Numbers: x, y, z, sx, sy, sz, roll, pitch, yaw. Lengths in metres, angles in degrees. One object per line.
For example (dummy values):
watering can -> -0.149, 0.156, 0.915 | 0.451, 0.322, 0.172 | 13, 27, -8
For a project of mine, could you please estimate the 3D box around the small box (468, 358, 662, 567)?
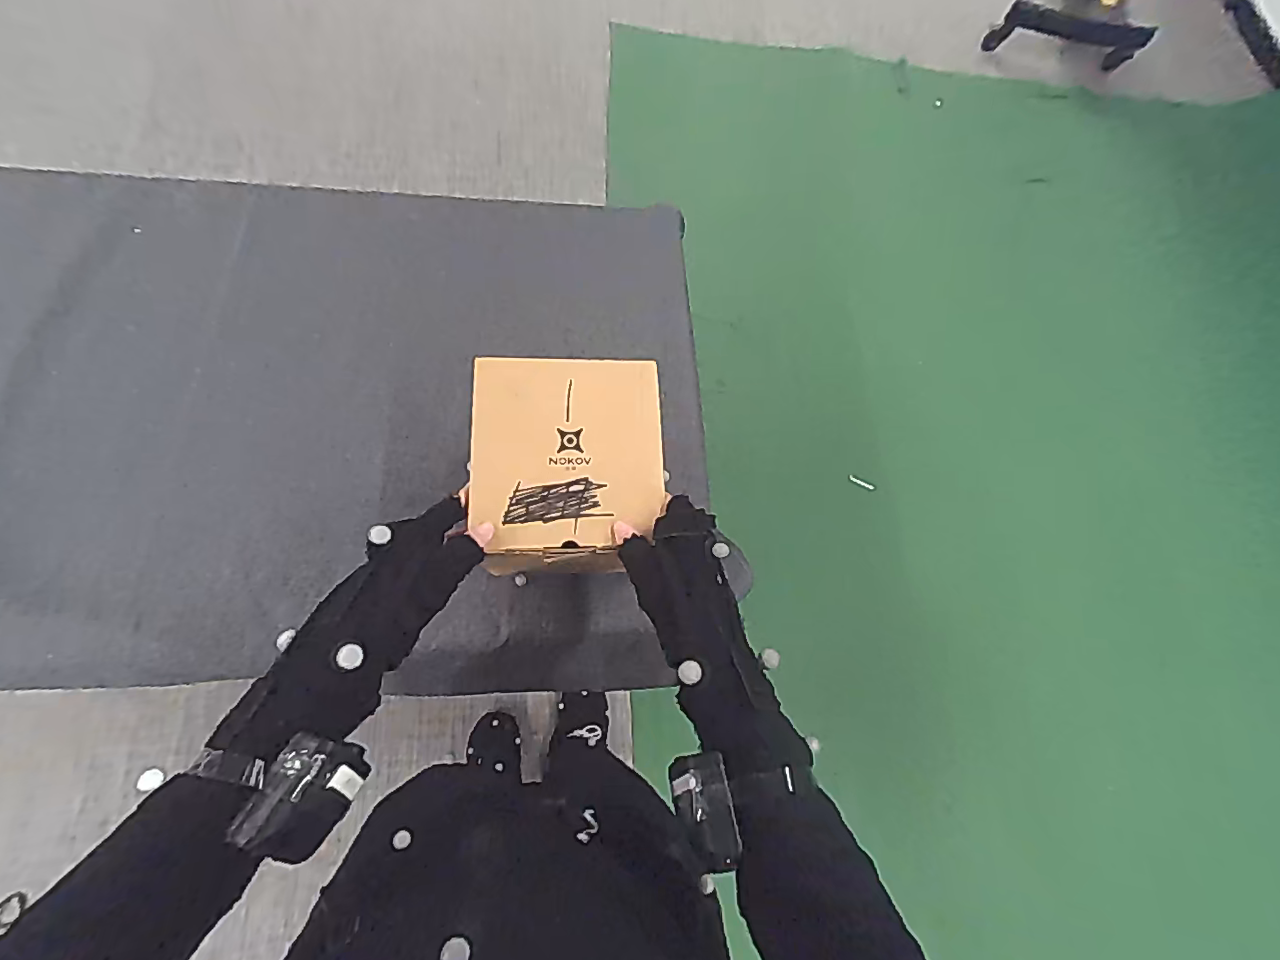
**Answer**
small box -> -0.072, -0.006, 0.550 | 0.168, 0.176, 0.179 | 0, 73, -8
